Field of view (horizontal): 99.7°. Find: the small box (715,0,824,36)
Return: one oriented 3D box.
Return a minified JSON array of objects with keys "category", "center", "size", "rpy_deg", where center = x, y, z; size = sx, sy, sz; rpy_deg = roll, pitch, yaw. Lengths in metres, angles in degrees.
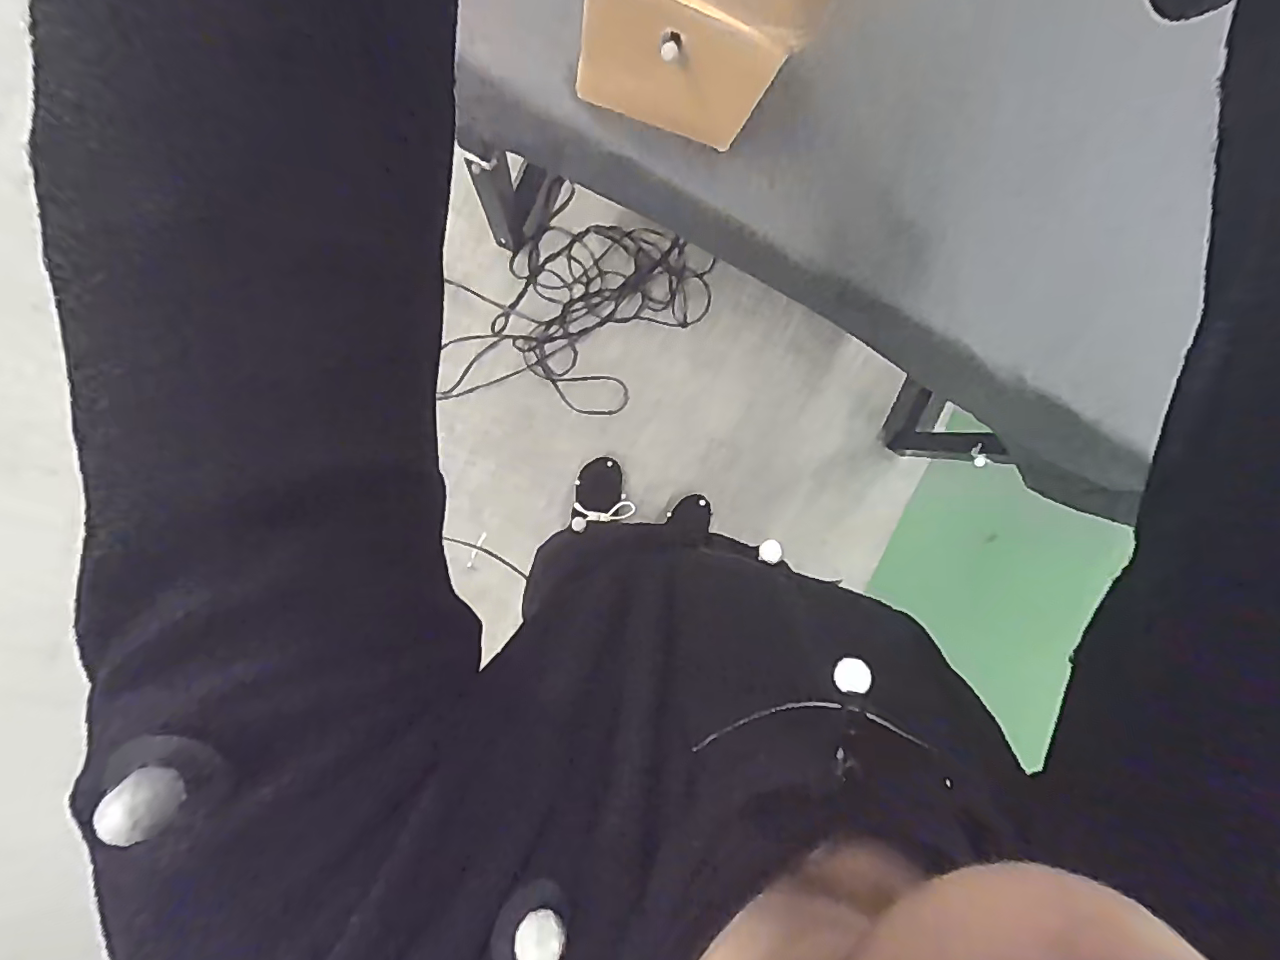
[{"category":"small box","center":[0.092,-0.448,0.346],"size":[0.179,0.176,0.168],"rpy_deg":[21,93,-11]}]

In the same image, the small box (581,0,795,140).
[{"category":"small box","center":[0.050,-0.458,0.504],"size":[0.179,0.176,0.168],"rpy_deg":[15,93,-9]}]
